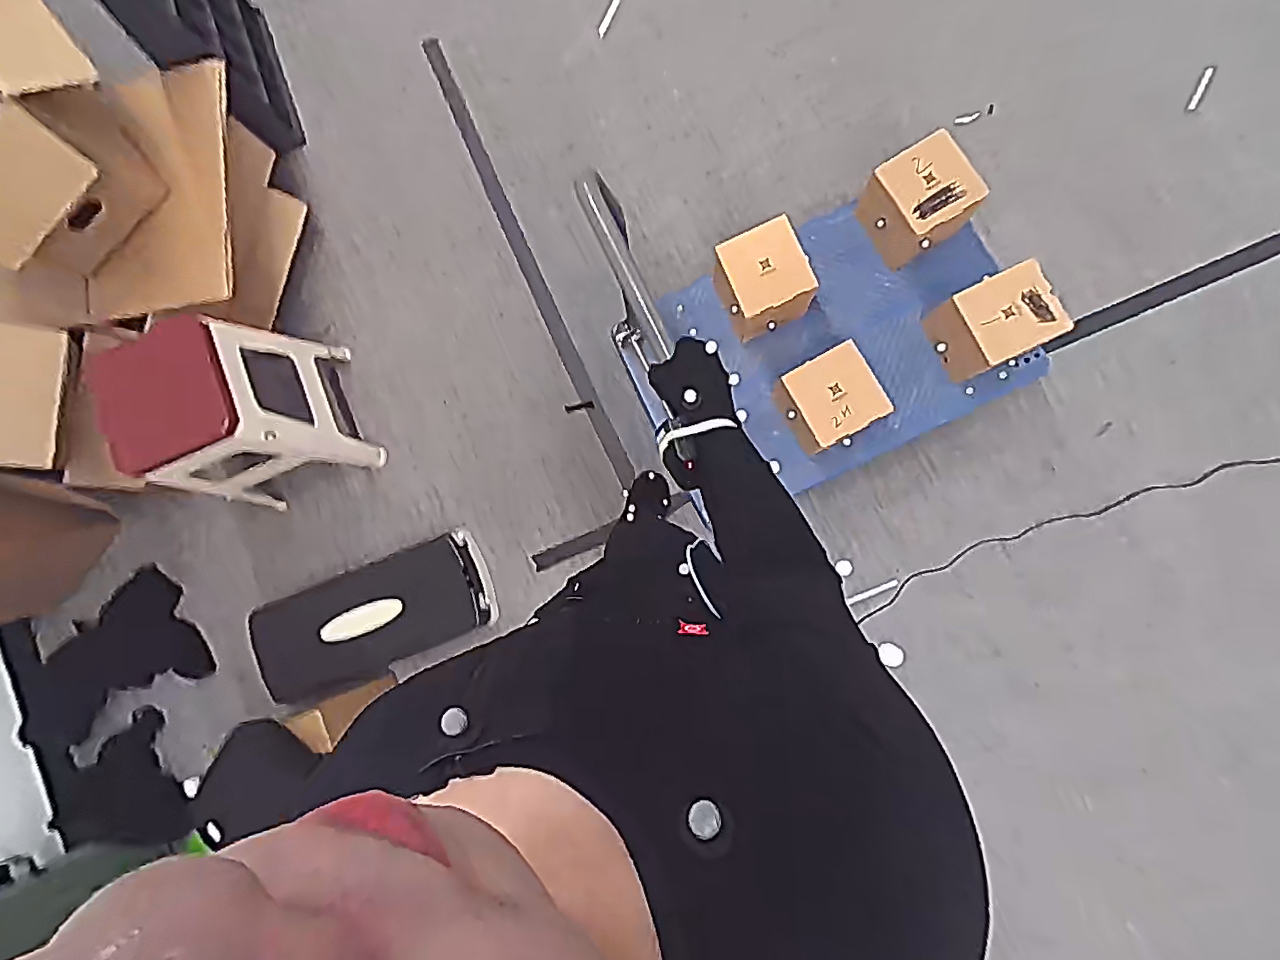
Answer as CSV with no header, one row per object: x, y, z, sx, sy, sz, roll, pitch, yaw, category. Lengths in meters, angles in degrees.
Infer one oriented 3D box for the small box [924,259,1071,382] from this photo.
0.756,-0.333,1.164,0.179,0.176,0.168,-26,84,6,small box

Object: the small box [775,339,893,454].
0.416,-0.175,1.194,0.168,0.176,0.179,-29,83,4,small box

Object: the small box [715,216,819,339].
0.278,-0.450,1.229,0.168,0.176,0.179,-24,86,4,small box
